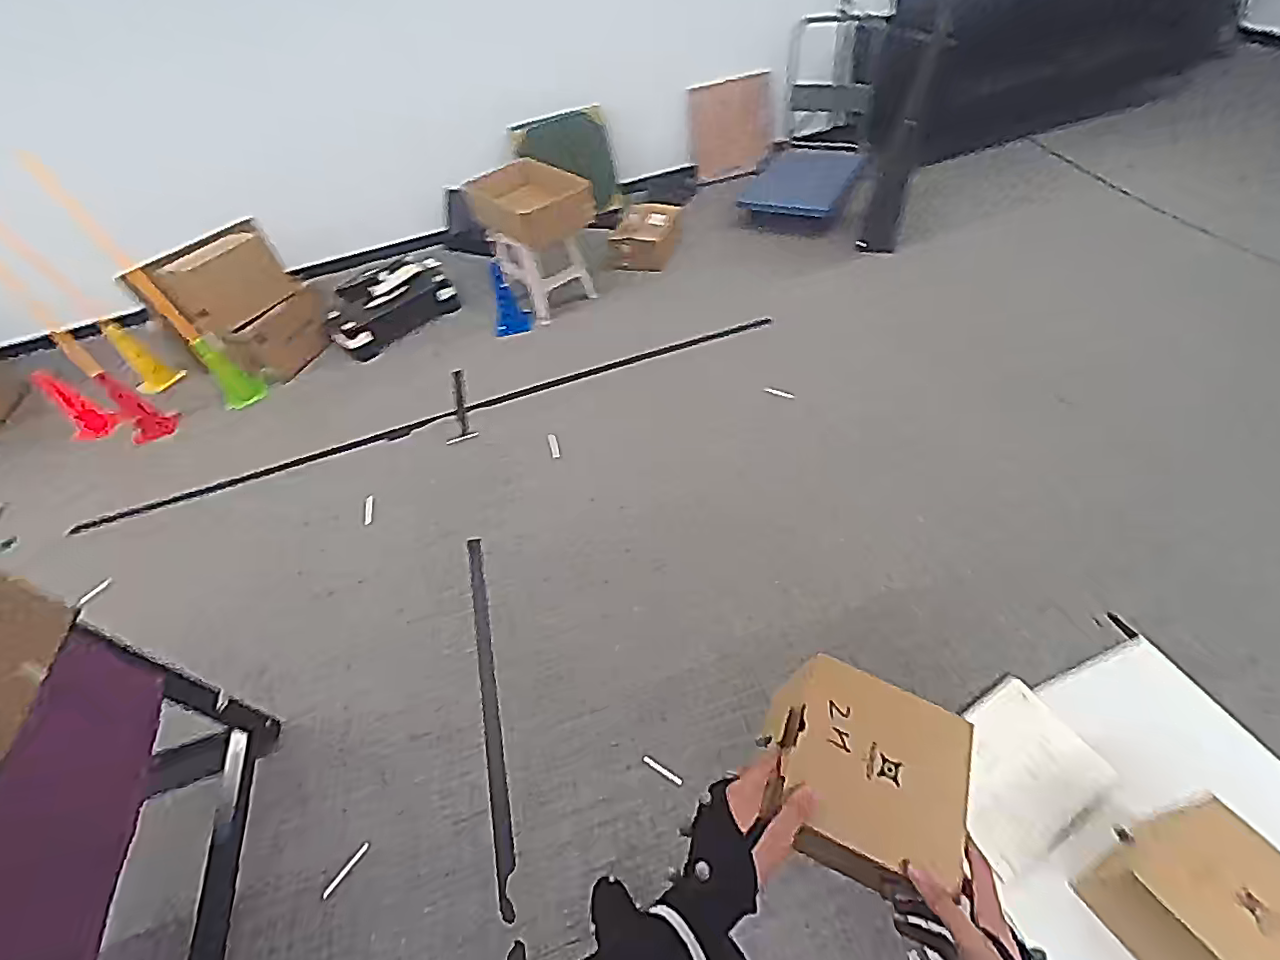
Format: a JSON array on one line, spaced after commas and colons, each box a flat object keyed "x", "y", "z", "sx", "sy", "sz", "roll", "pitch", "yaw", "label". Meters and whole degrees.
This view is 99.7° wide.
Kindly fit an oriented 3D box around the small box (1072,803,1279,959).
[{"x": 0.711, "y": 0.550, "z": 0.679, "sx": 0.168, "sy": 0.176, "sz": 0.179, "roll": -26, "pitch": 50, "yaw": -14, "label": "small box"}]

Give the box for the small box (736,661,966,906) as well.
[{"x": 0.226, "y": 0.334, "z": 0.607, "sx": 0.179, "sy": 0.176, "sz": 0.168, "roll": 22, "pitch": 57, "yaw": 11, "label": "small box"}]
